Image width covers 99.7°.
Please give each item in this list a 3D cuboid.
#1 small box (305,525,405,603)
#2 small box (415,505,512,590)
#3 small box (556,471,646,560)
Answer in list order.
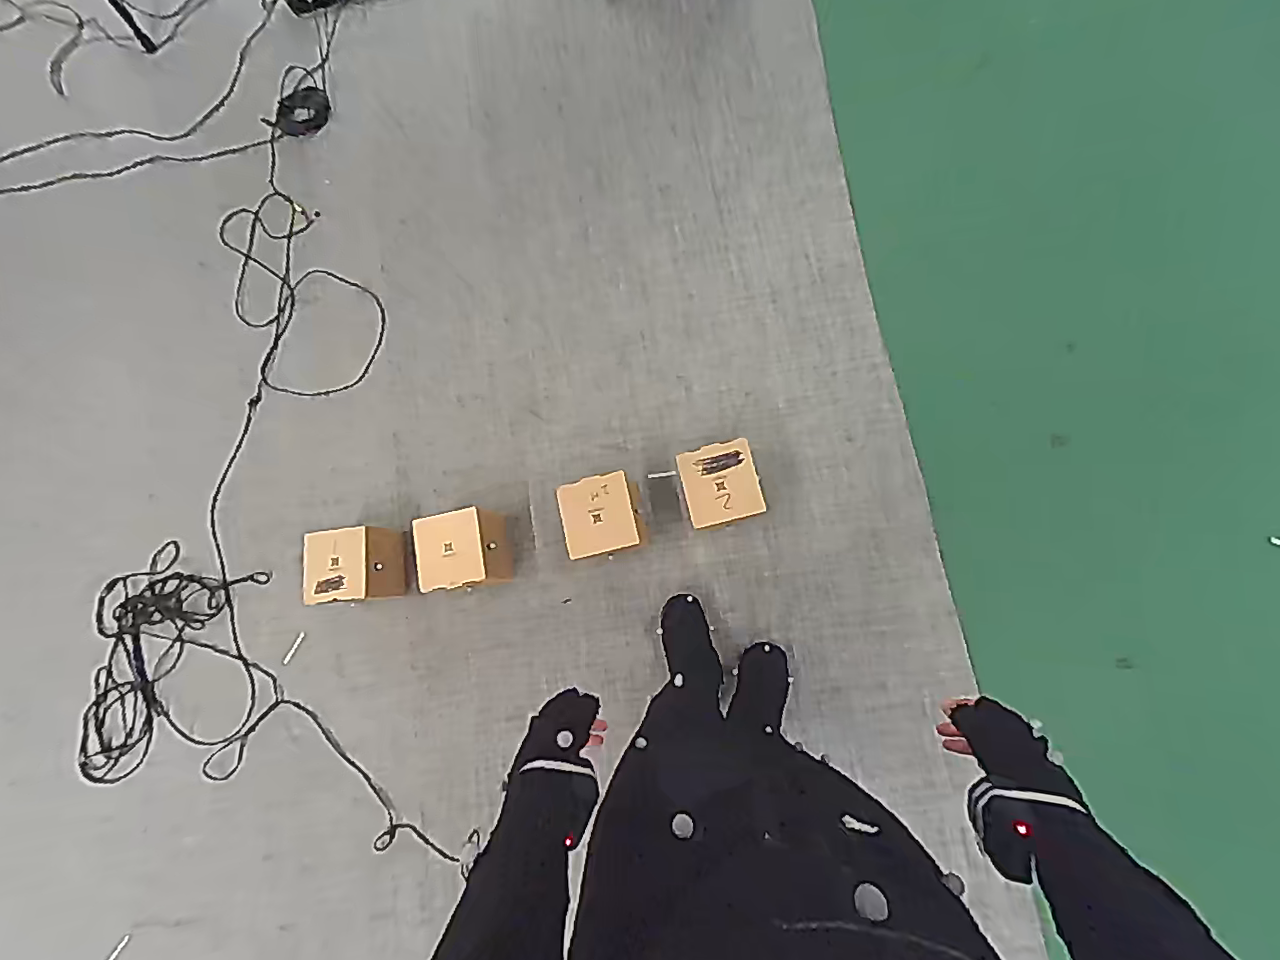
[{"bbox_3d":[-0.721,0.216,1.385,0.168,0.176,0.179,-7,78,7],"label":"small box"},{"bbox_3d":[-0.436,0.173,1.351,0.168,0.176,0.179,-13,79,7],"label":"small box"},{"bbox_3d":[-0.087,0.092,1.311,0.168,0.176,0.179,-14,79,5],"label":"small box"}]
